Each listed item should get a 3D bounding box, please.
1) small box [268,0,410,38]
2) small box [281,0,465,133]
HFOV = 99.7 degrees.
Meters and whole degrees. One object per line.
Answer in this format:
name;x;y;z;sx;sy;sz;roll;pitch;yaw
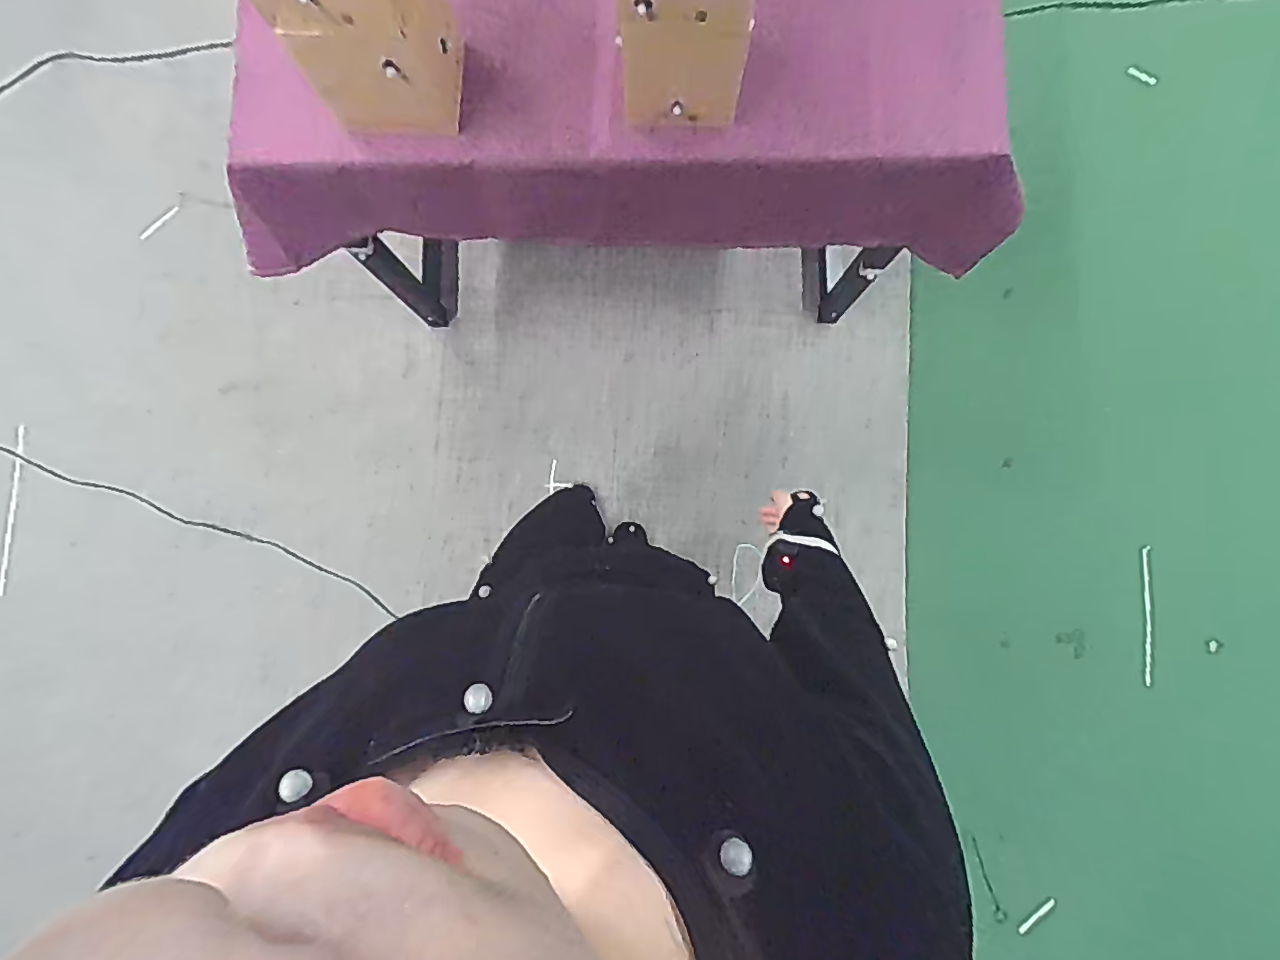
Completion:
small box;-0.366;-0.650;0.604;0.168;0.176;0.179;3;86;1
small box;-0.362;-0.626;0.765;0.179;0.176;0.168;2;84;1
